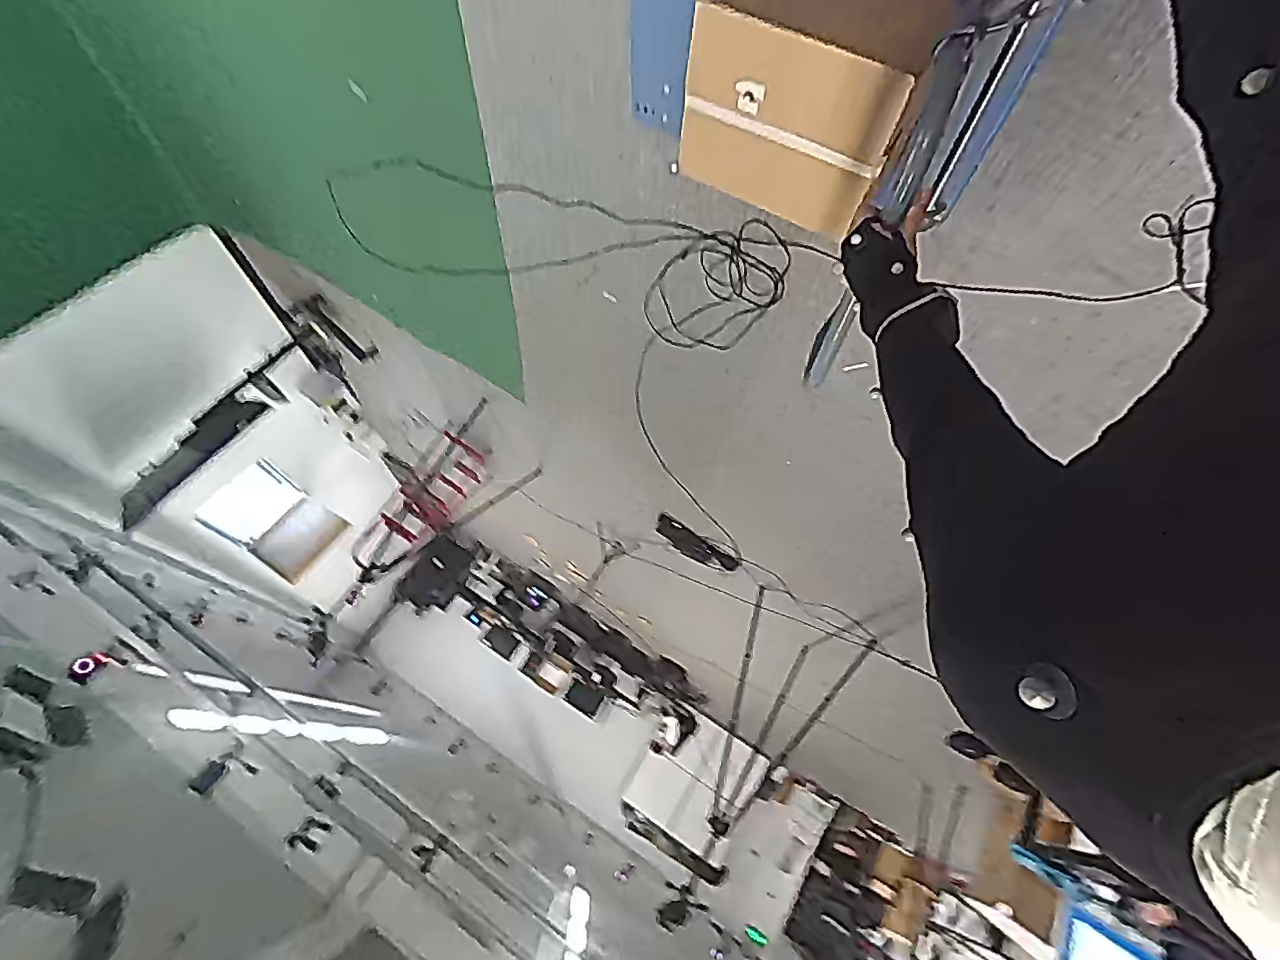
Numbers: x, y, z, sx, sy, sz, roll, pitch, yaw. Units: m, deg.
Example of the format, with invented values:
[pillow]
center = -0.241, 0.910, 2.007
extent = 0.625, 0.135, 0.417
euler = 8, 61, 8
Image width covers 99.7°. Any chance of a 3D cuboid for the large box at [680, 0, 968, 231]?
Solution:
[large box]
center = 0.339, -0.778, 1.072
extent = 0.408, 0.320, 0.320
euler = 30, 155, 13
